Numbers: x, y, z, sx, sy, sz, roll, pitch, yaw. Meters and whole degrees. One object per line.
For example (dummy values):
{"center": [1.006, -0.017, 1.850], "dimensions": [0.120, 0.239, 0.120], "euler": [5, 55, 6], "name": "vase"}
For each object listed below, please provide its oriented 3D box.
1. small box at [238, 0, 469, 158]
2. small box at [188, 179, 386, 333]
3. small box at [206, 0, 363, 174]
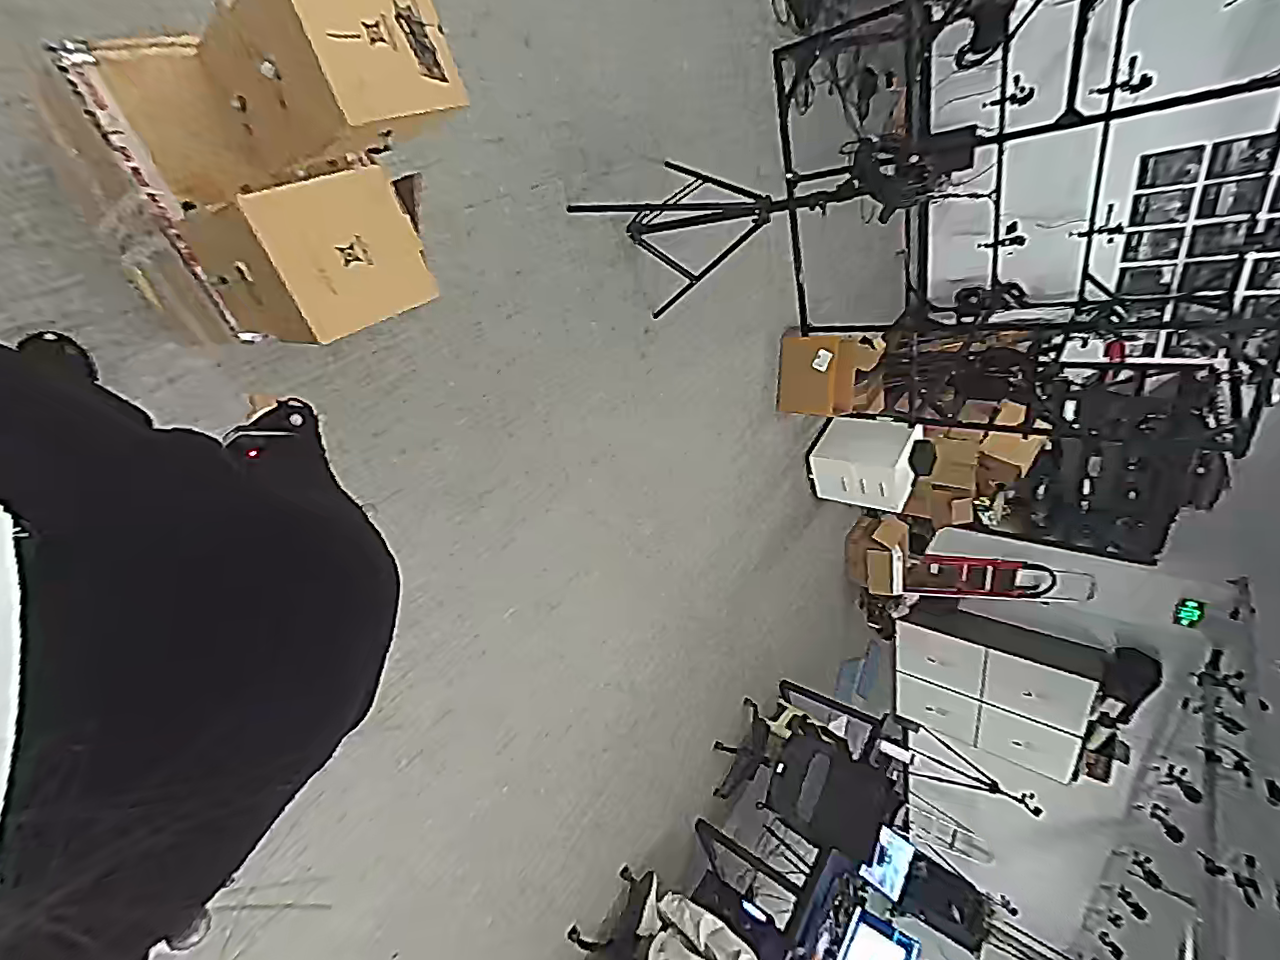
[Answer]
{"center": [-0.358, -0.529, 0.684], "dimensions": [0.179, 0.176, 0.168], "euler": [-39, 126, -34], "name": "small box"}
{"center": [-0.525, -0.326, 0.803], "dimensions": [0.179, 0.176, 0.168], "euler": [-40, 129, -35], "name": "small box"}
{"center": [-0.480, -0.571, 0.787], "dimensions": [0.179, 0.176, 0.168], "euler": [-43, 127, -32], "name": "small box"}
